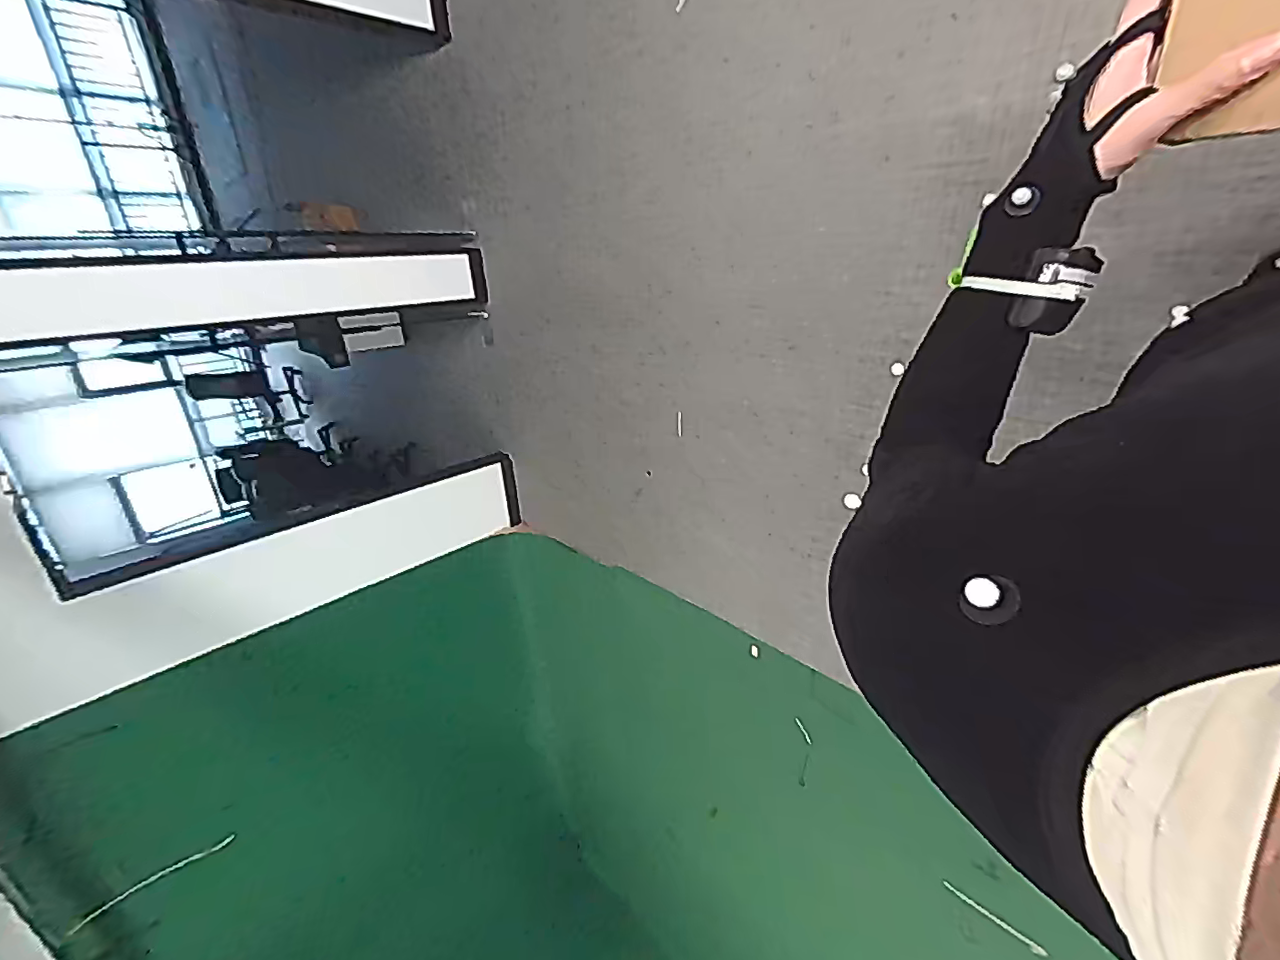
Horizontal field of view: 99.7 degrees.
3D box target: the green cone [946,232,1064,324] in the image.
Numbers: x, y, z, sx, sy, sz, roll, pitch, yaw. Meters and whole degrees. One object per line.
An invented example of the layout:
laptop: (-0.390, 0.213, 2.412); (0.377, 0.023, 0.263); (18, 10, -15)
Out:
green cone: (0.773, -0.444, 1.222); (0.200, 0.368, 0.202); (26, 126, 39)
